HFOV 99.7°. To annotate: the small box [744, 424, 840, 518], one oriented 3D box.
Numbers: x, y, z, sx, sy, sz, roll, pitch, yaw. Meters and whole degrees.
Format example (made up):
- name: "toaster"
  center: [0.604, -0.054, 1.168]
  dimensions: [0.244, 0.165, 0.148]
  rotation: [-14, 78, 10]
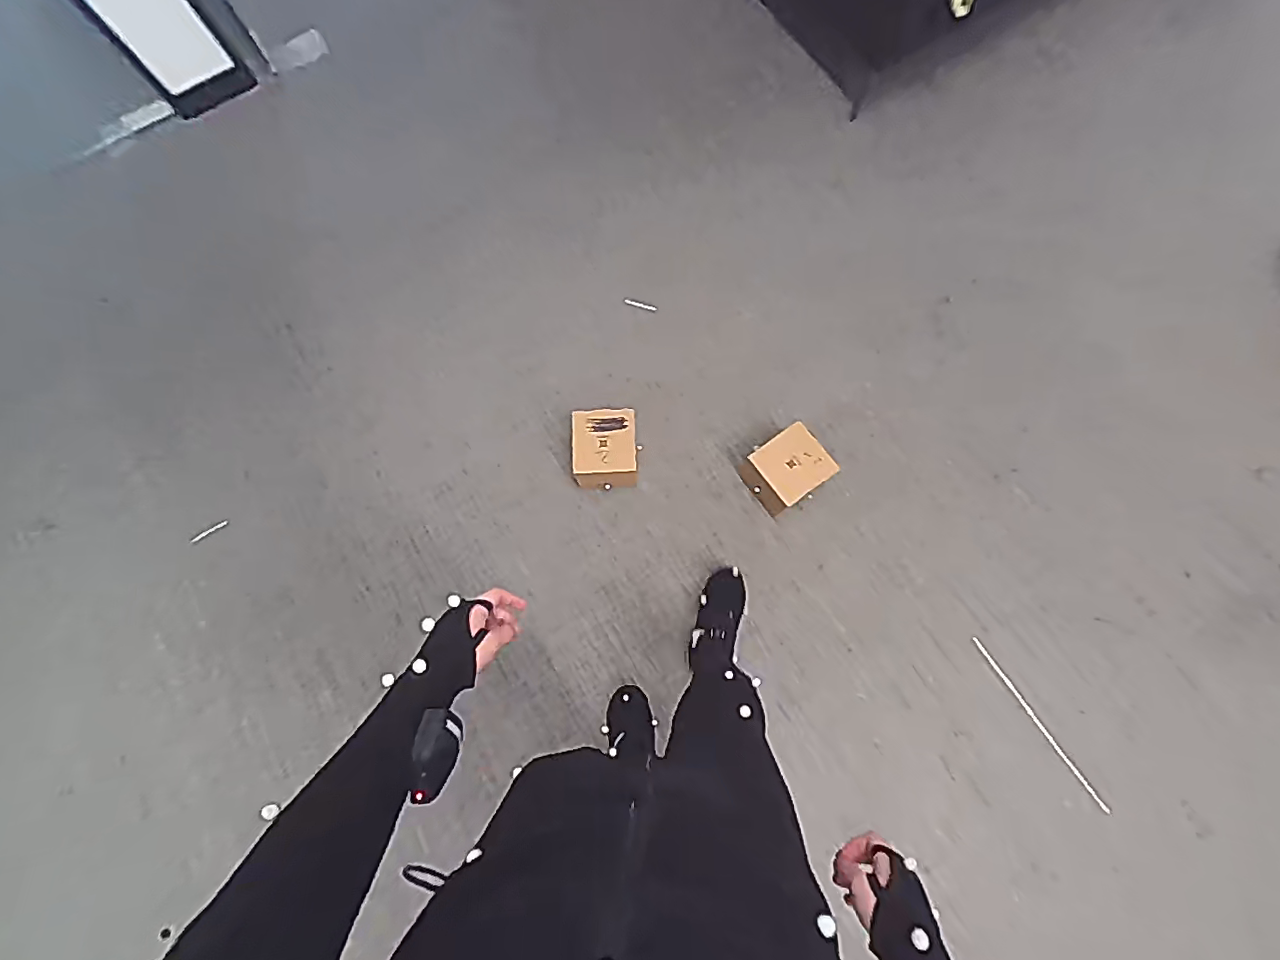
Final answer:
- name: "small box"
  center: [0.396, -0.017, 1.456]
  dimensions: [0.179, 0.176, 0.168]
  rotation: [-35, 78, -7]
